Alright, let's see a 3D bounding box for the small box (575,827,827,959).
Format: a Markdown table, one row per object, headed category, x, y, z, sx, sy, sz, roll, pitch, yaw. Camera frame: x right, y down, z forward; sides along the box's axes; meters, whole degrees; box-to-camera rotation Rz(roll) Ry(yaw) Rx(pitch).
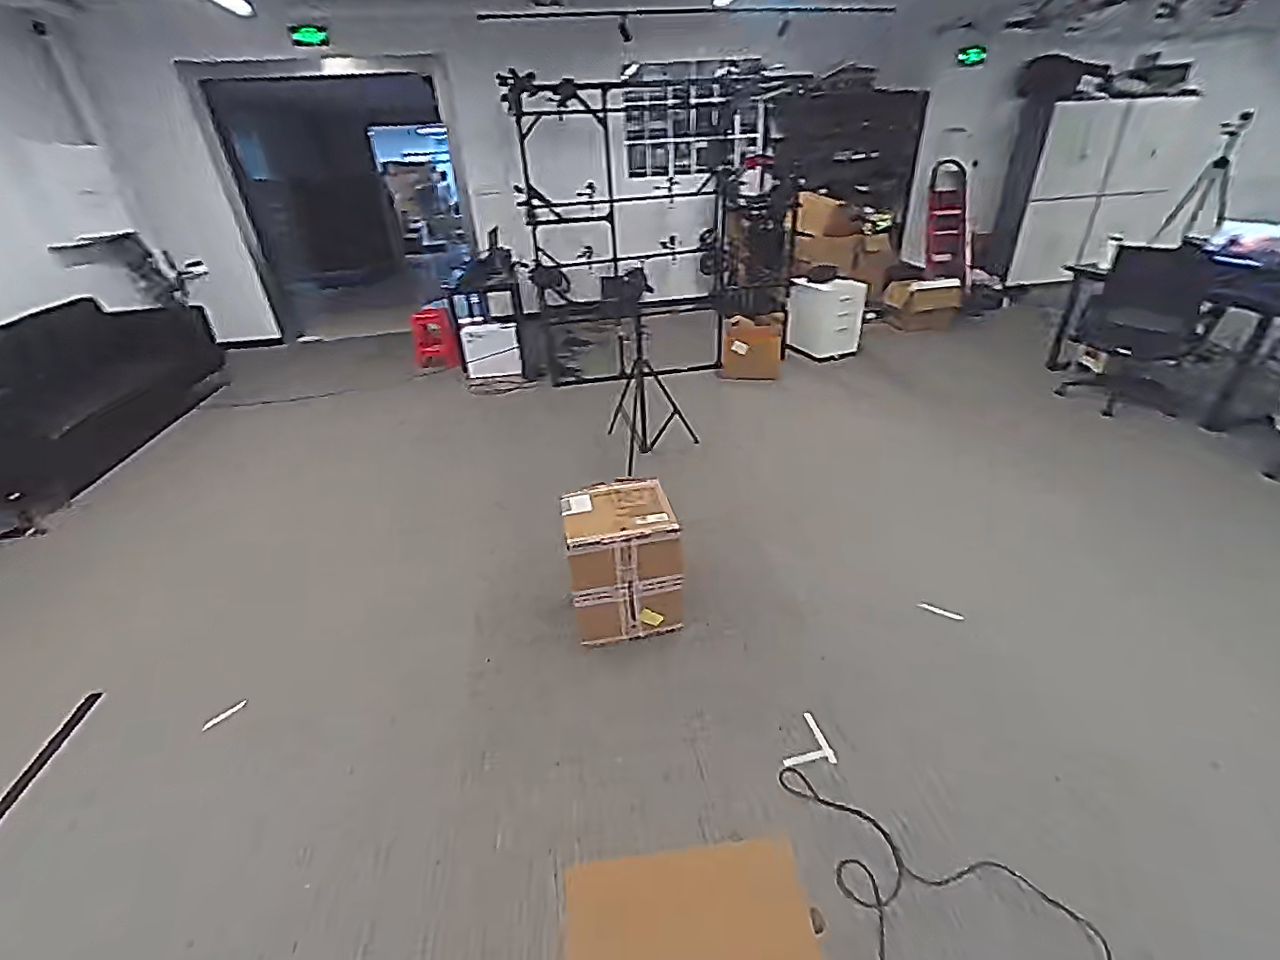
| category | x | y | z | sx | sy | sz | roll | pitch | yaw |
| --- | --- | --- | --- | --- | --- | --- | --- | --- | --- |
| small box | 0.043 | 0.381 | 0.385 | 0.168 | 0.176 | 0.179 | -6 | 41 | -2 |
